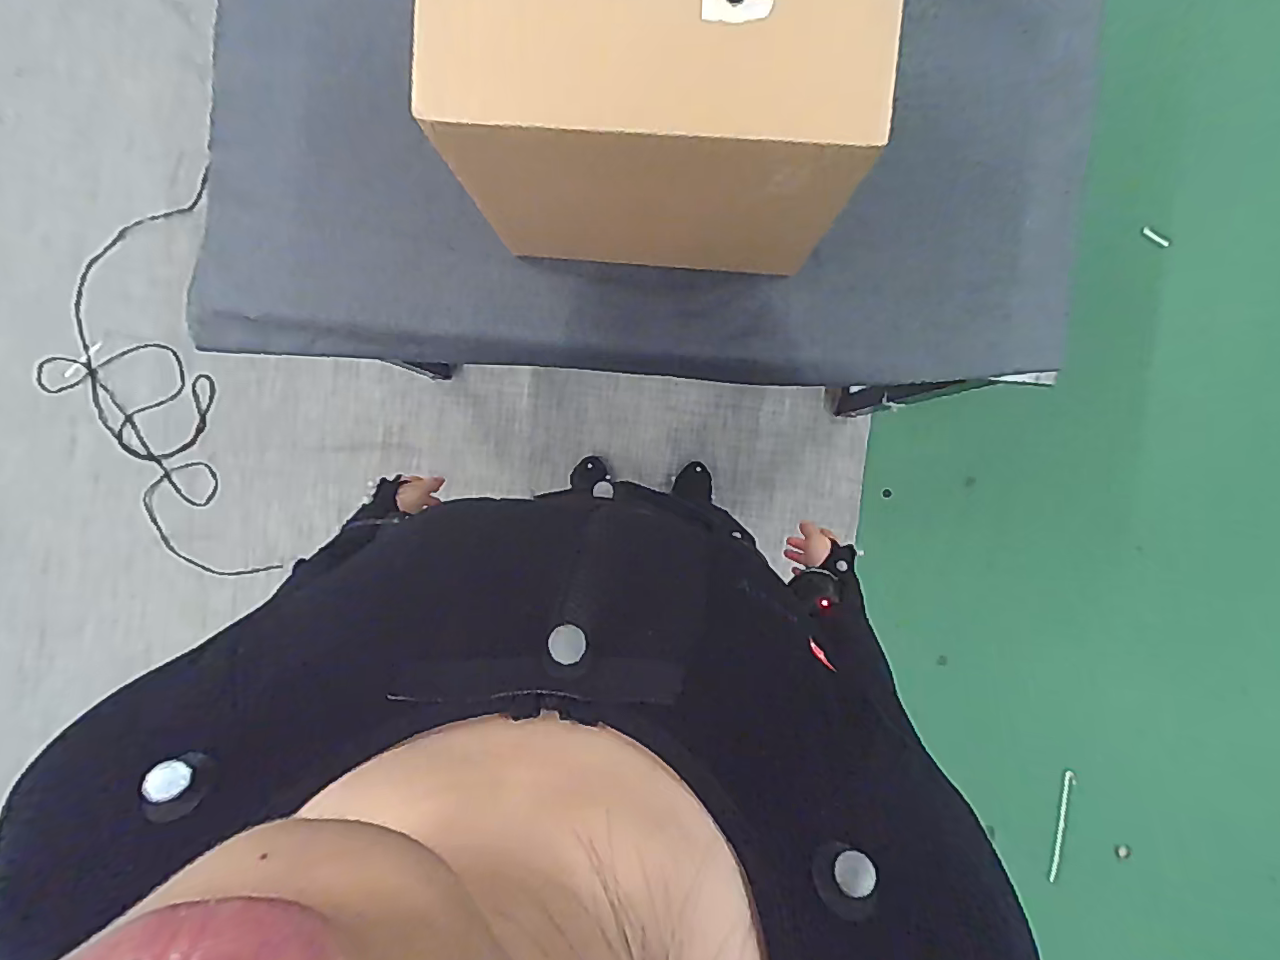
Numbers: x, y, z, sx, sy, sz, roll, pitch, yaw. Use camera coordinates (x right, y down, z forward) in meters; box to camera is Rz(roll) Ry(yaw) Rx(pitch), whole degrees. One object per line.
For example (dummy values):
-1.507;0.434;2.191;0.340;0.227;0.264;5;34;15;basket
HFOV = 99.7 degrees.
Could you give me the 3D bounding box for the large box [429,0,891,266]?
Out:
0.021;-0.458;0.614;0.408;0.320;0.320;4;93;1;large box
